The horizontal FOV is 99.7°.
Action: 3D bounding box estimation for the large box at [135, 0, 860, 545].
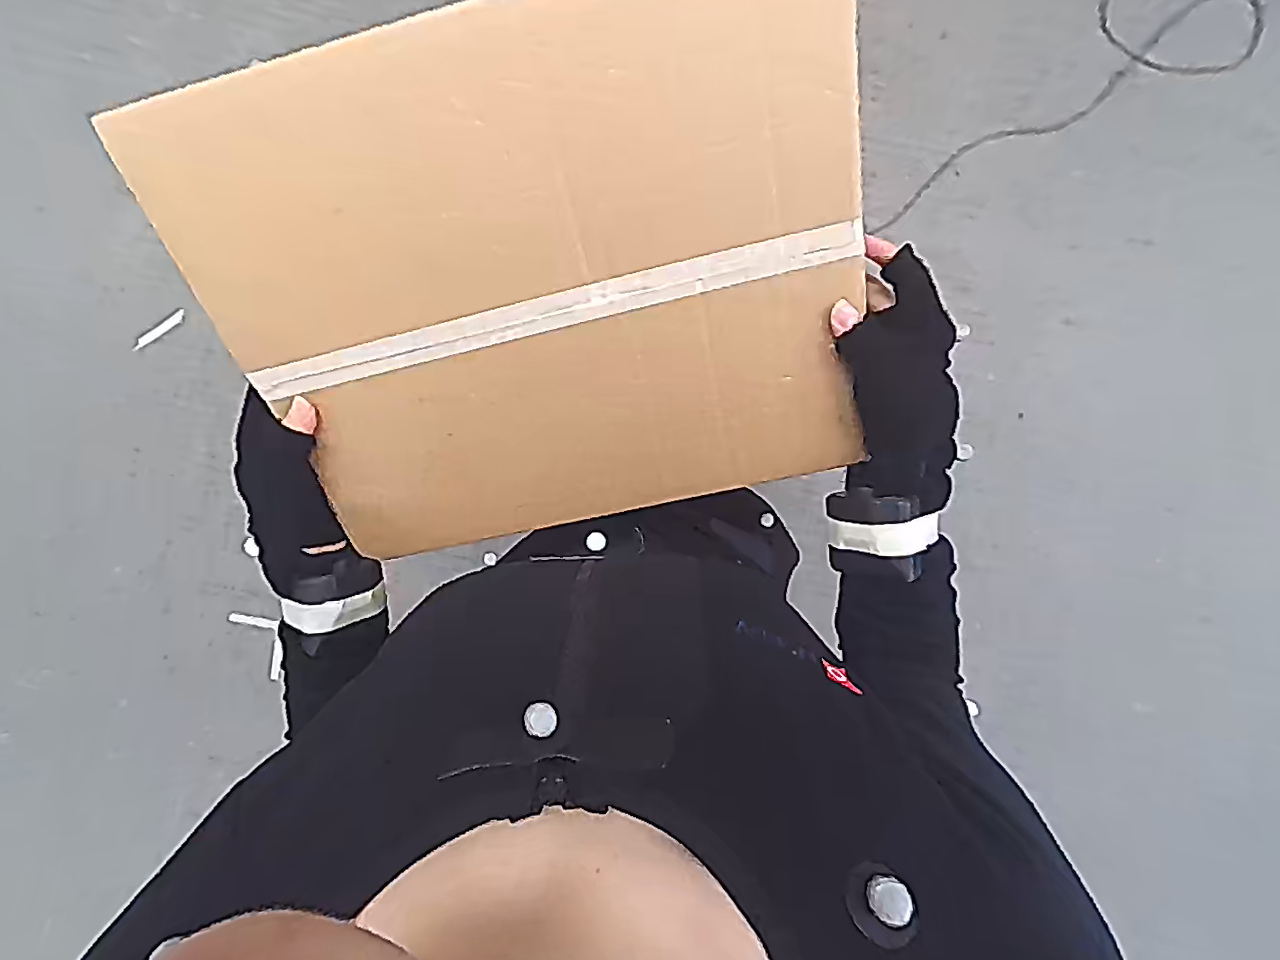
[{"bbox_3d":[-0.066,-0.189,0.485,0.408,0.320,0.320,-12,120,6],"label":"large box"}]
